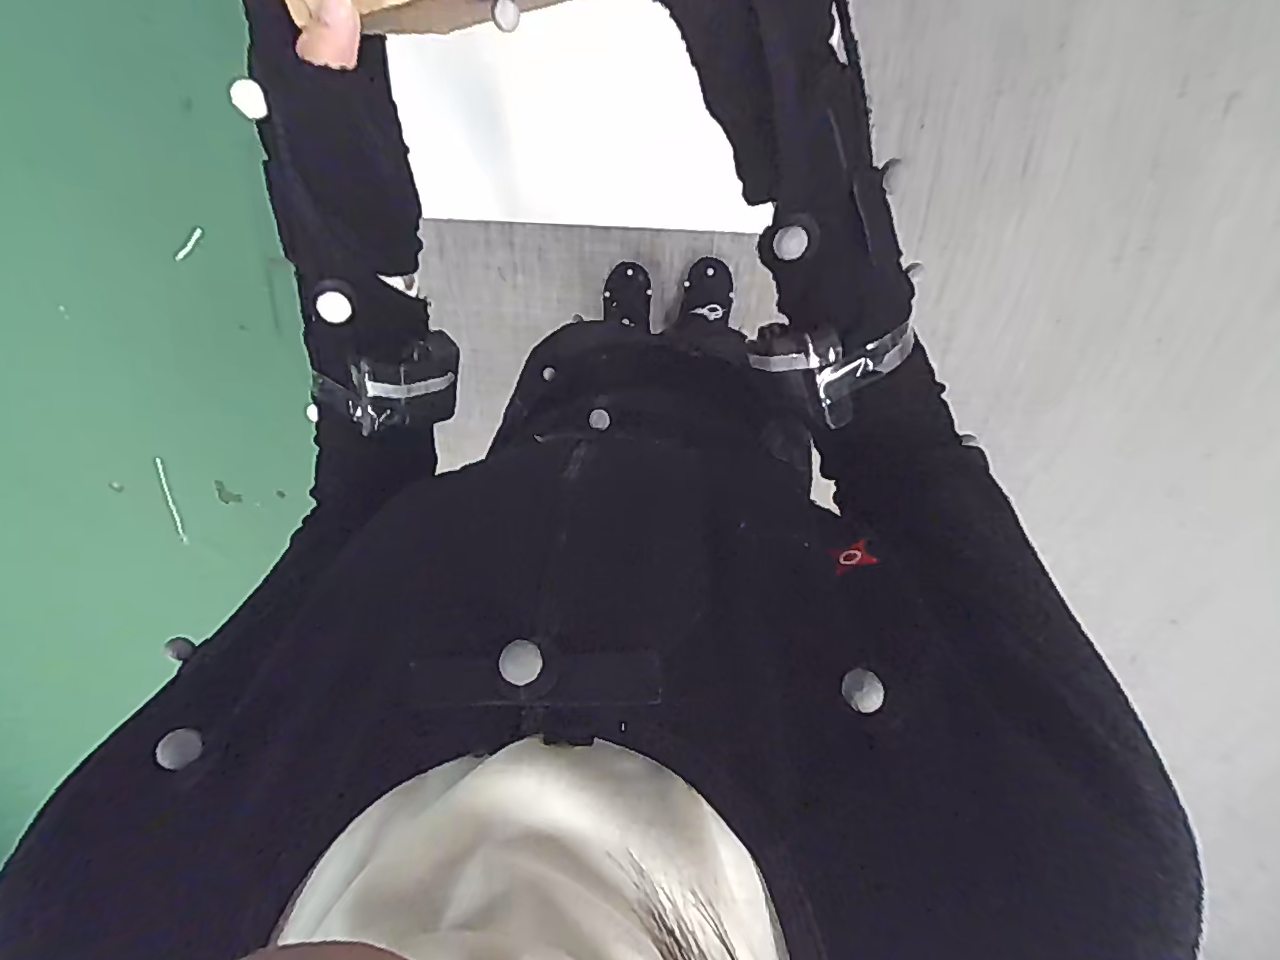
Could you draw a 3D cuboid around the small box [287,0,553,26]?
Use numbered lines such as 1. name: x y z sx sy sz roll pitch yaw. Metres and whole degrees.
1. small box: -0.065 -0.308 0.219 0.179 0.176 0.168 -7 128 9
